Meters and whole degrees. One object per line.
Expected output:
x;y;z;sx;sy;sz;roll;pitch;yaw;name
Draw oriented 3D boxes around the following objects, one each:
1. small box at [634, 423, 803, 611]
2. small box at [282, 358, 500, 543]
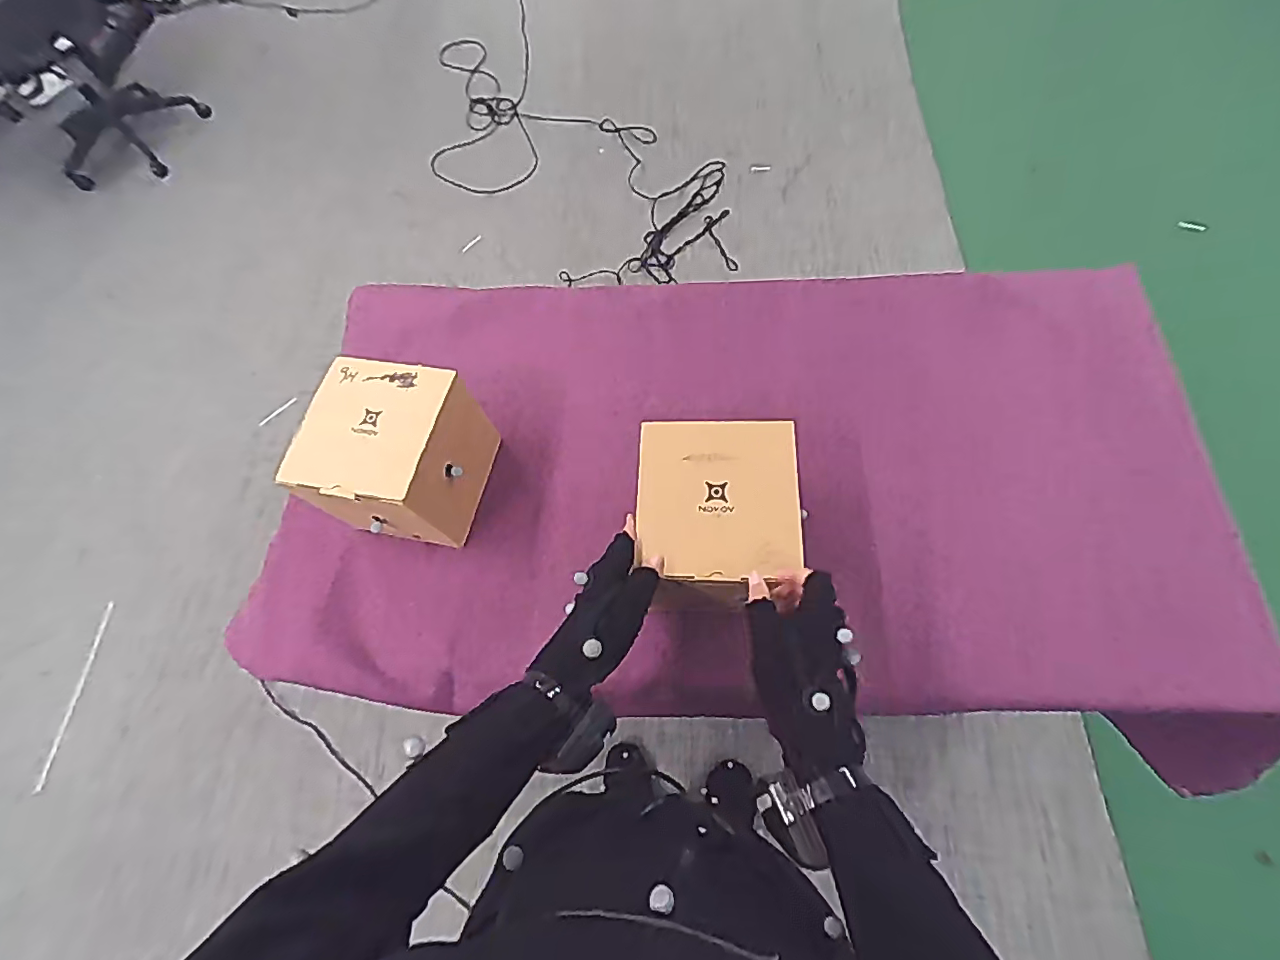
0.088;0.050;0.623;0.168;0.176;0.179;1;66;6;small box
-0.302;-0.030;0.701;0.168;0.176;0.179;9;68;10;small box
